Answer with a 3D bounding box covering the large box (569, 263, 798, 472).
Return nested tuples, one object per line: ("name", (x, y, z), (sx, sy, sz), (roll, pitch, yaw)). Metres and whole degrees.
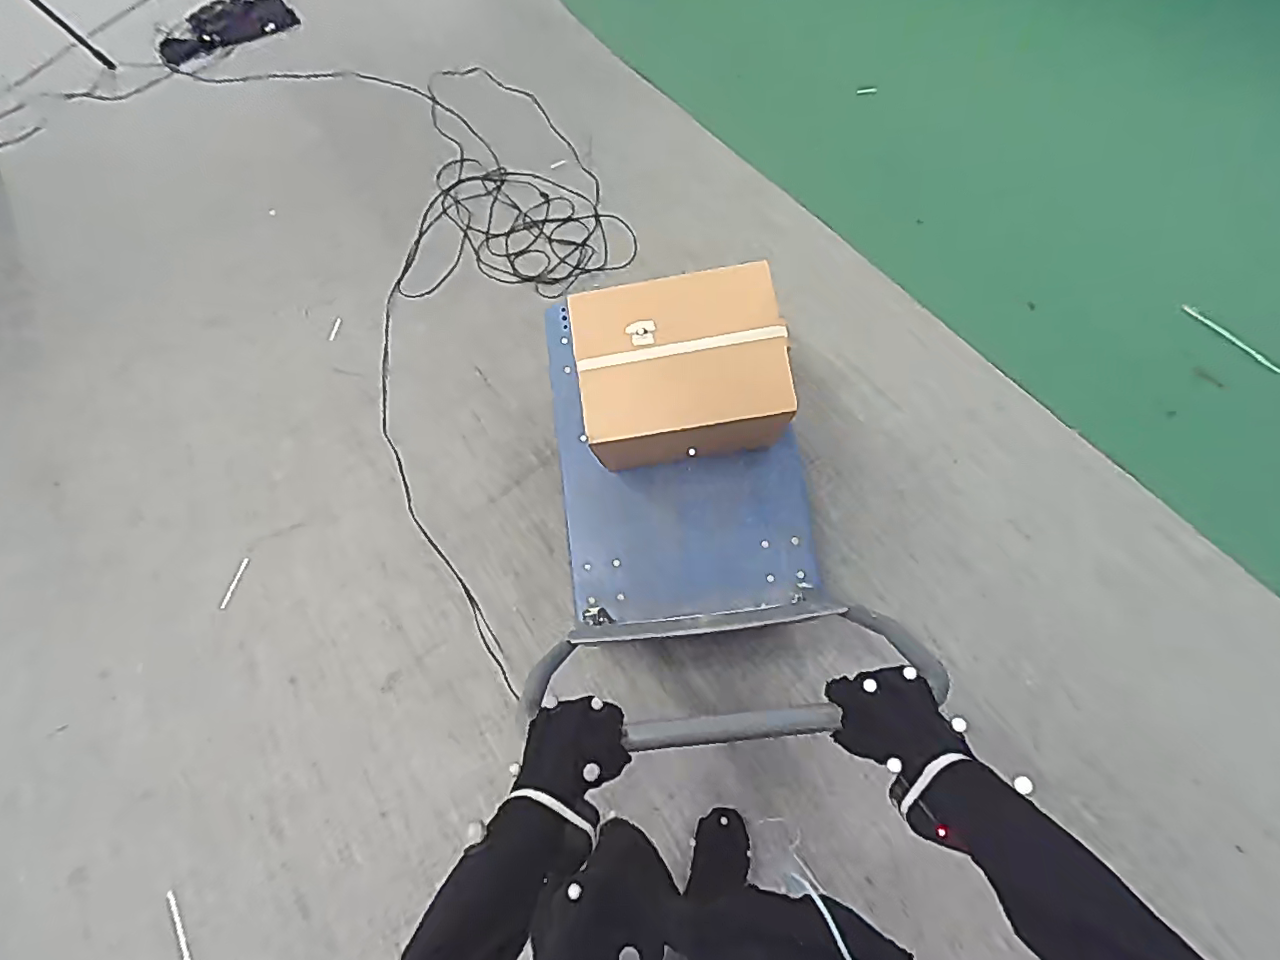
("large box", (0.092, -0.220, 1.190), (0.408, 0.320, 0.320), (-10, 80, 4))
